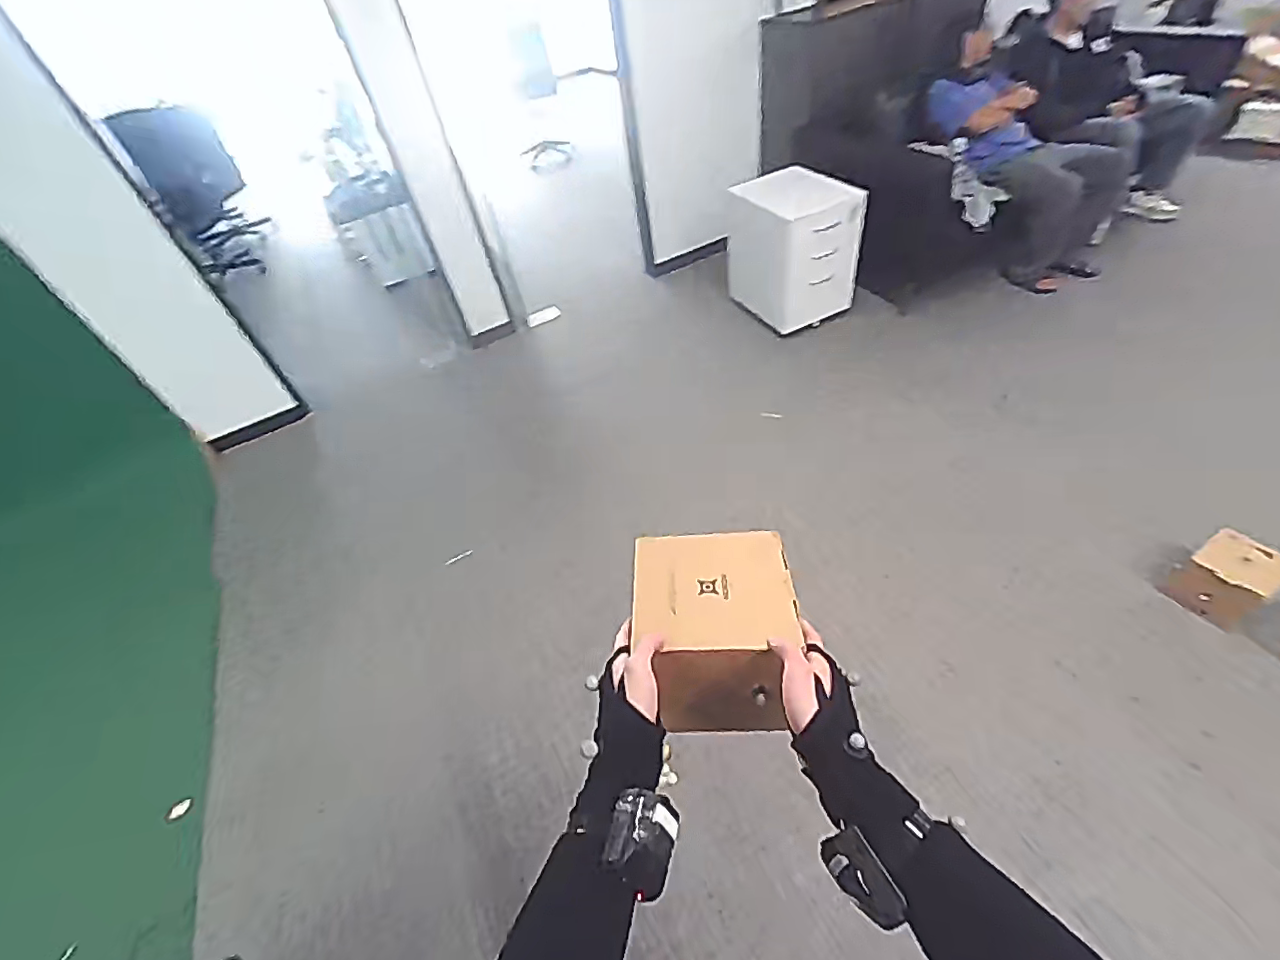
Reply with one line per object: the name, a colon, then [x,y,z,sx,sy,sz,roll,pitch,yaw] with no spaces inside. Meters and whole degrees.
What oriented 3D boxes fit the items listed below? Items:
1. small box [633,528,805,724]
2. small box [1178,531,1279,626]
small box: [0.092,0.177,0.657,0.179,0.176,0.168,-3,37,7]
small box: [1.622,0.272,1.476,0.179,0.176,0.168,15,49,26]
